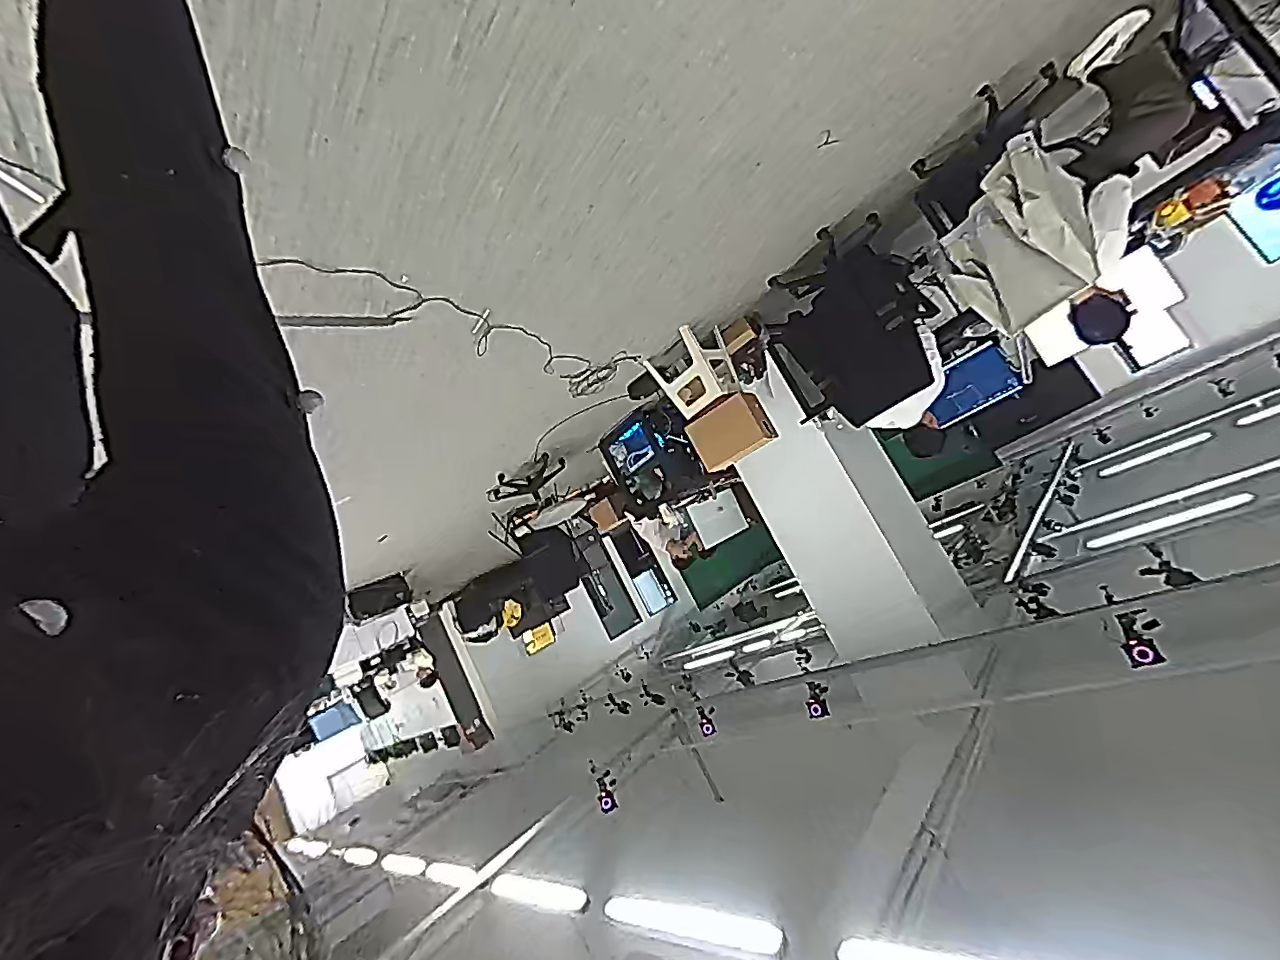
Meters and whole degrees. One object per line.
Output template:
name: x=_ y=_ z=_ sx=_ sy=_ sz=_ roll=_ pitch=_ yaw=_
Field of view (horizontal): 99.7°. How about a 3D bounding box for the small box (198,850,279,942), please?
small box: x=-1.333 y=1.369 z=1.791 sx=0.179 sy=0.176 sz=0.168 roll=-20 pitch=169 yaw=-45
